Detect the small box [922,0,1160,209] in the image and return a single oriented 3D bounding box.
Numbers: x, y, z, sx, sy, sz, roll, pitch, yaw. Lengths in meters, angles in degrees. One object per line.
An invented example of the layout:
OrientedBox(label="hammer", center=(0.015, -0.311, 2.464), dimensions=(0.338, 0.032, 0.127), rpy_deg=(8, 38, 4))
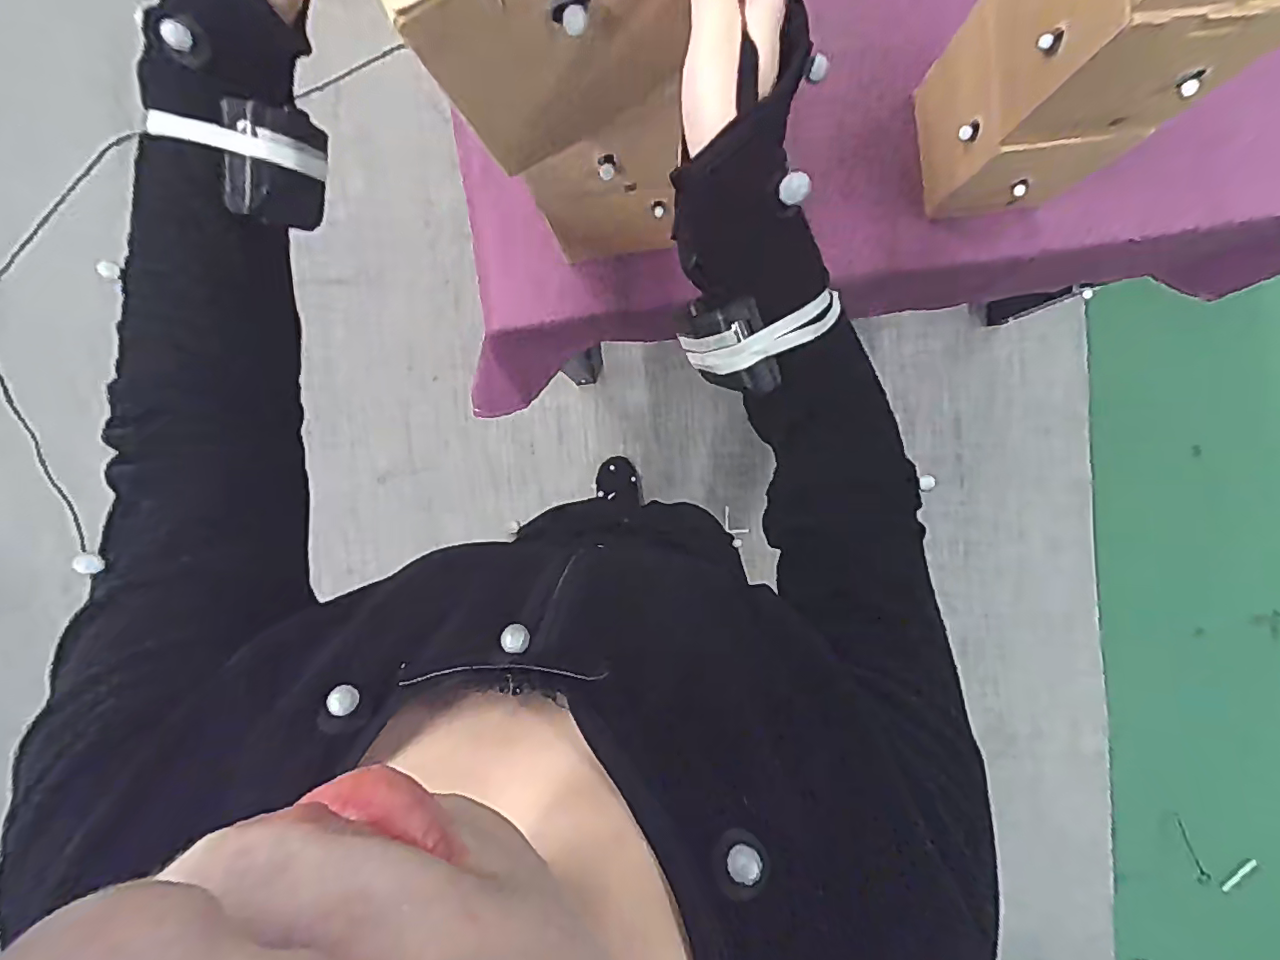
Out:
OrientedBox(label="small box", center=(0.466, -0.451, 0.655), dimensions=(0.168, 0.176, 0.179), rpy_deg=(-6, 92, 2))

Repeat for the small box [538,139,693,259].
OrientedBox(label="small box", center=(-0.033, -0.398, 0.679), dimensions=(0.179, 0.176, 0.168), rpy_deg=(-9, 91, 2))

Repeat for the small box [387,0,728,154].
OrientedBox(label="small box", center=(-0.053, -0.317, 0.288), dimensions=(0.179, 0.176, 0.168), rpy_deg=(-23, 97, 6))

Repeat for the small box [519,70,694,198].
OrientedBox(label="small box", center=(-0.044, -0.395, 0.515), dimensions=(0.168, 0.176, 0.179), rpy_deg=(-9, 92, 2))

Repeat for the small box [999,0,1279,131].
OrientedBox(label="small box", center=(0.459, -0.449, 0.491), dimensions=(0.168, 0.176, 0.179), rpy_deg=(-4, 91, 2))
